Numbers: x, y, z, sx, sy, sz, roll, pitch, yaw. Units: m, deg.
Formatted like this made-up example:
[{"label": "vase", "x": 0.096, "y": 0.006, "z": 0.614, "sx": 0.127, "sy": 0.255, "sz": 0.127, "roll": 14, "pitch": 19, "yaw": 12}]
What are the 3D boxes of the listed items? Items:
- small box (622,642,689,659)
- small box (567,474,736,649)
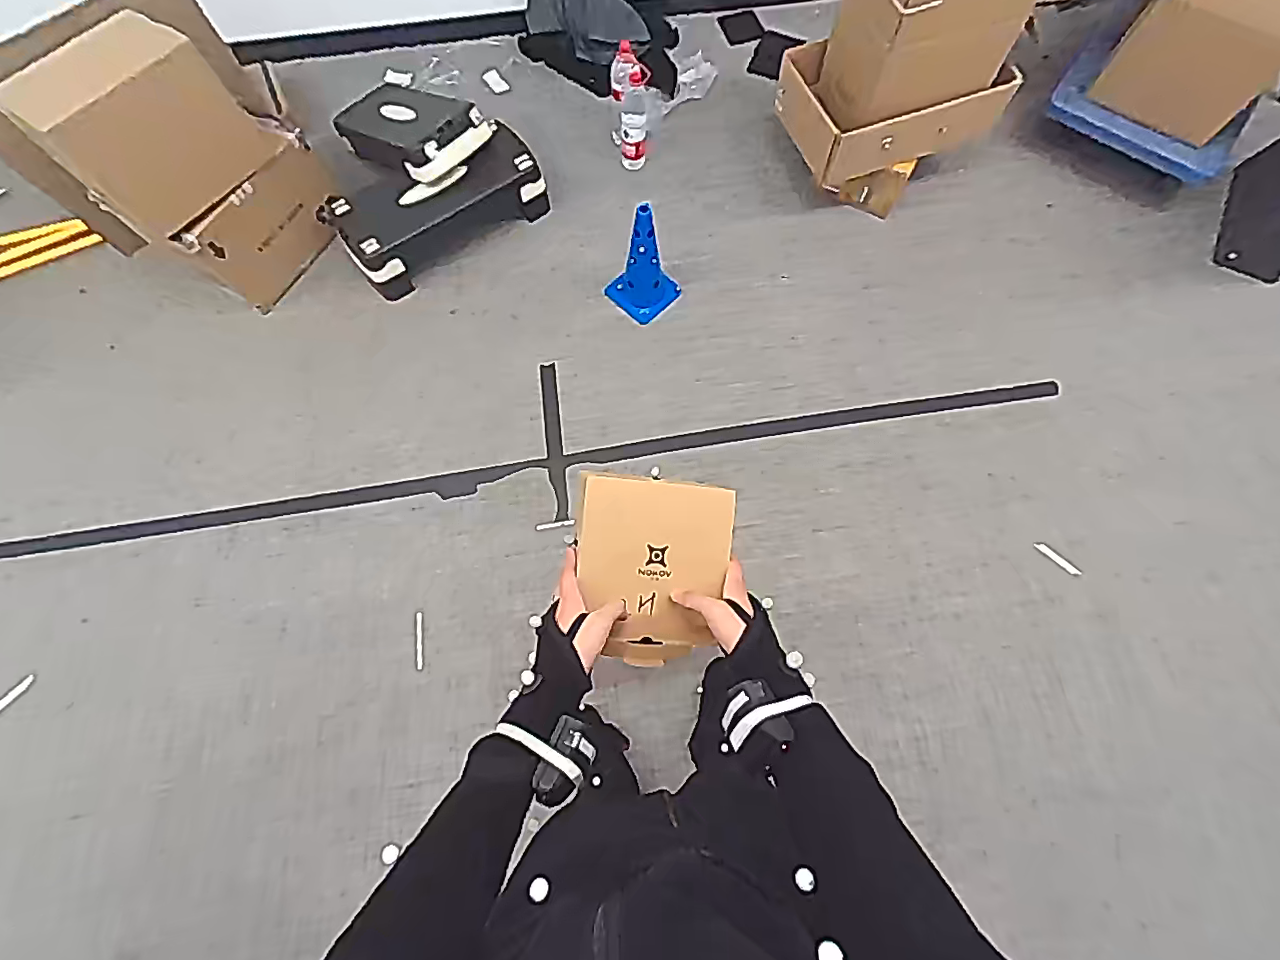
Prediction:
[{"label": "small box", "x": 0.036, "y": 0.371, "z": 1.416, "sx": 0.168, "sy": 0.176, "sz": 0.179, "roll": -4, "pitch": 71, "yaw": -1}, {"label": "small box", "x": 0.003, "y": 0.088, "z": 0.657, "sx": 0.168, "sy": 0.176, "sz": 0.179, "roll": 7, "pitch": 91, "yaw": -9}]
